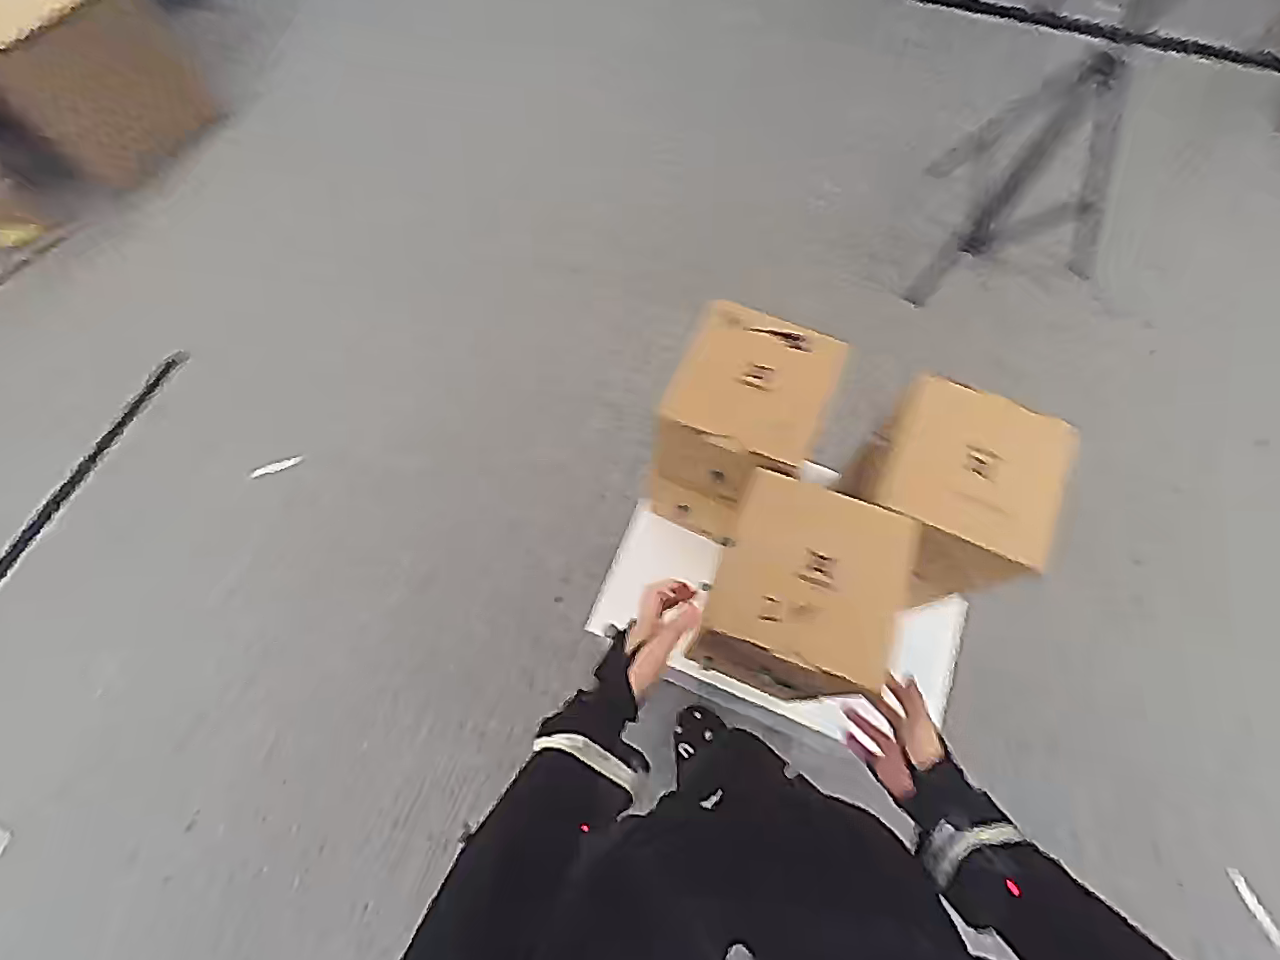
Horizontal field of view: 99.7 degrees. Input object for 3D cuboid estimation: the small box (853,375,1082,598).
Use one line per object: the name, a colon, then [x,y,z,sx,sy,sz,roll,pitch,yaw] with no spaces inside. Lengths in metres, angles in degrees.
small box: [0.356,0.017,0.630,0.168,0.176,0.179,24,72,10]

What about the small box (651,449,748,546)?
small box: [0.127,-0.016,0.823,0.168,0.176,0.179,25,71,10]

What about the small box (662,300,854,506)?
small box: [0.136,-0.080,0.673,0.168,0.176,0.179,24,71,9]

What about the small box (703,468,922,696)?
small box: [0.174,0.118,0.590,0.168,0.176,0.179,20,70,9]
